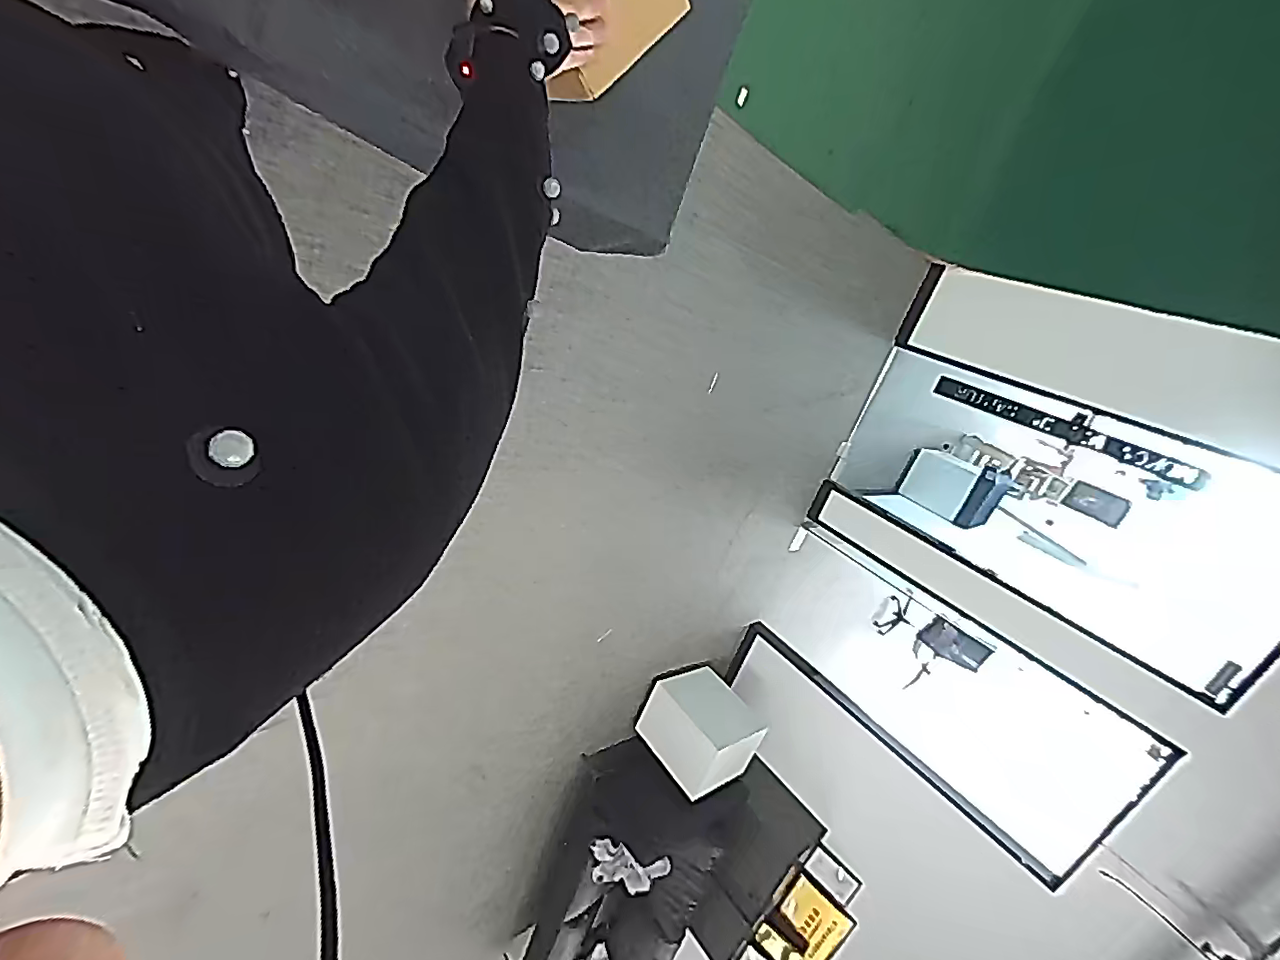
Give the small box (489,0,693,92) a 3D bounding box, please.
[{"bbox_3d":[-0.075,-0.599,0.640,0.179,0.176,0.168,-48,141,-5],"label":"small box"}]
